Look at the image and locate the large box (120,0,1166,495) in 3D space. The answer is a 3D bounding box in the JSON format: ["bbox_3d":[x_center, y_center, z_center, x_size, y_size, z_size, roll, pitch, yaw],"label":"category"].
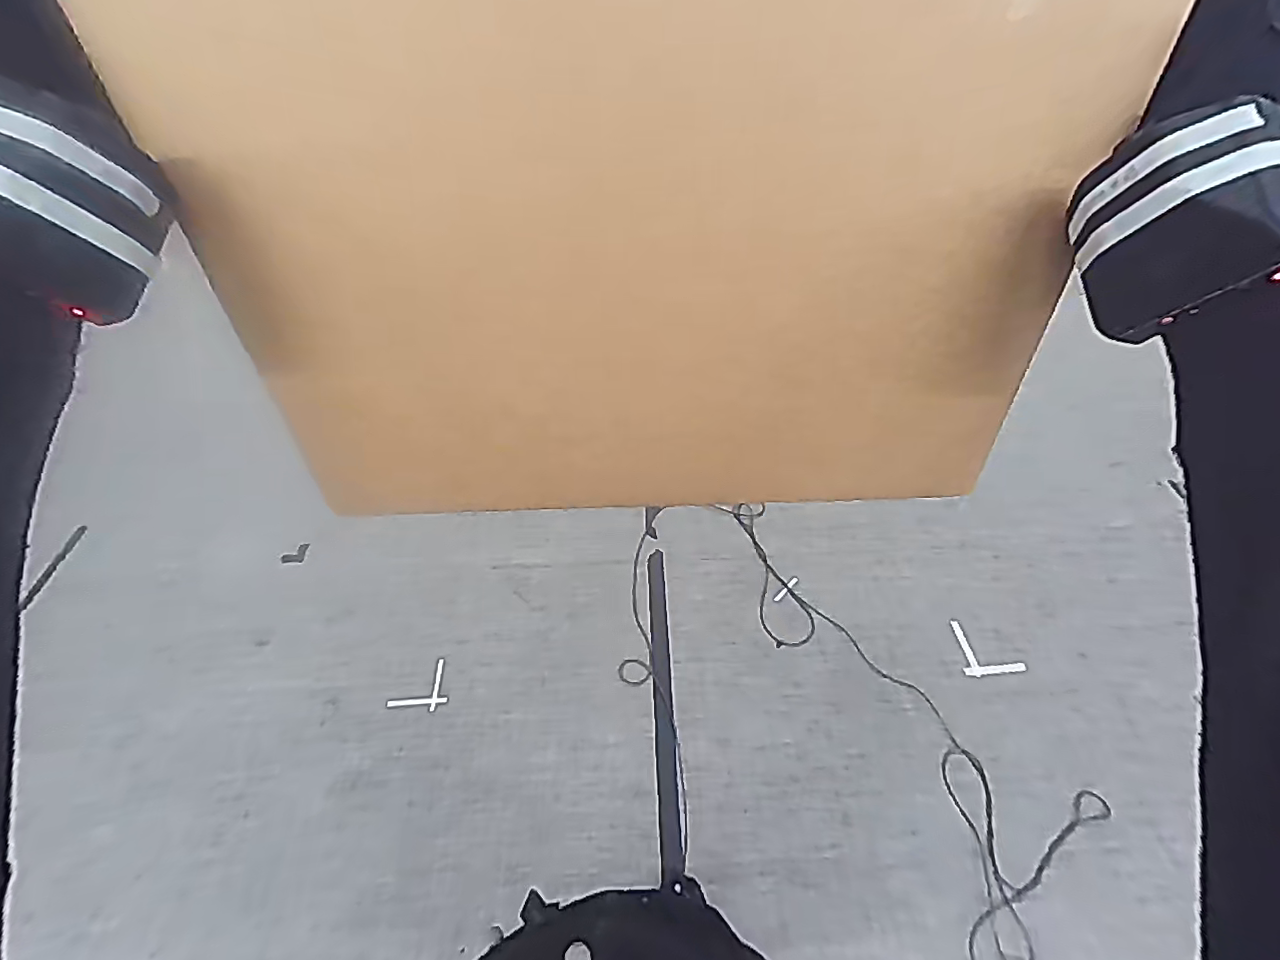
[{"bbox_3d":[0.002,-0.203,0.369,0.408,0.320,0.320,-1,39,0],"label":"large box"}]
